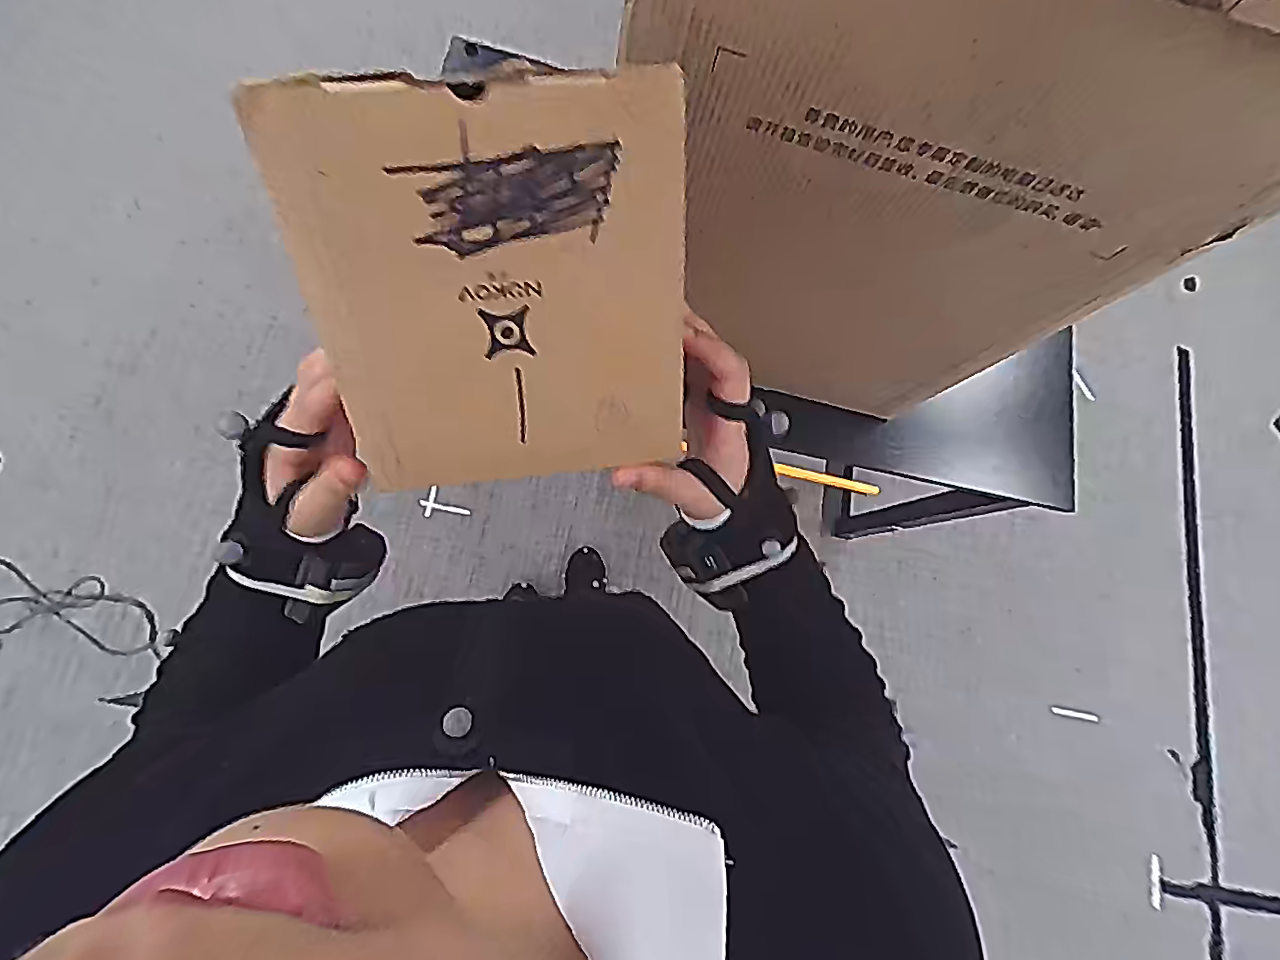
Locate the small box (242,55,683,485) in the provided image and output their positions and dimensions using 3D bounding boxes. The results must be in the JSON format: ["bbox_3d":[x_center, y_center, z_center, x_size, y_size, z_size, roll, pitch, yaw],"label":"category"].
[{"bbox_3d":[-0.074,-0.122,0.313,0.168,0.176,0.179,-7,123,-6],"label":"small box"}]
